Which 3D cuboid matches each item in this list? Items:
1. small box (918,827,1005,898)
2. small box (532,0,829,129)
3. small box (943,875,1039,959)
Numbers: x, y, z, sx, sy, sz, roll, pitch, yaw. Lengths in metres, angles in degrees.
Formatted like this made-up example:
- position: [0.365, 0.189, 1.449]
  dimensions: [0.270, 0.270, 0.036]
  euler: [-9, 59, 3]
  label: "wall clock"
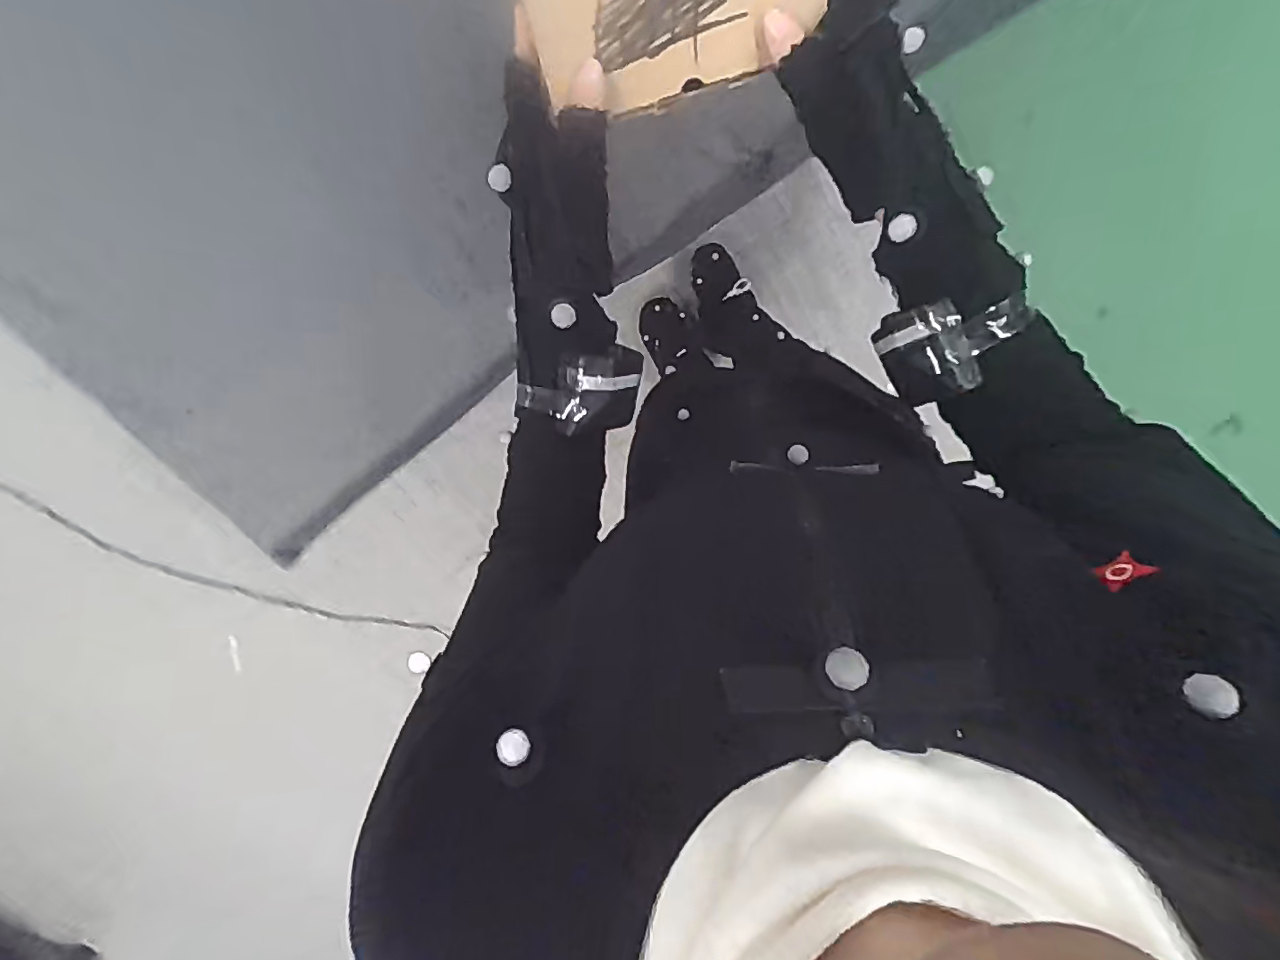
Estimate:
- position: [1.121, 1.368, 1.900]
  dimensions: [0.179, 0.176, 0.168]
  euler: [-37, 108, 13]
  label: "small box"
- position: [0.007, -0.346, 0.336]
  dimensions: [0.168, 0.176, 0.179]
  euler: [-15, 127, 2]
  label: "small box"
- position: [1.105, 1.416, 1.724]
  dimensions: [0.179, 0.176, 0.168]
  euler: [-37, 108, 13]
  label: "small box"
